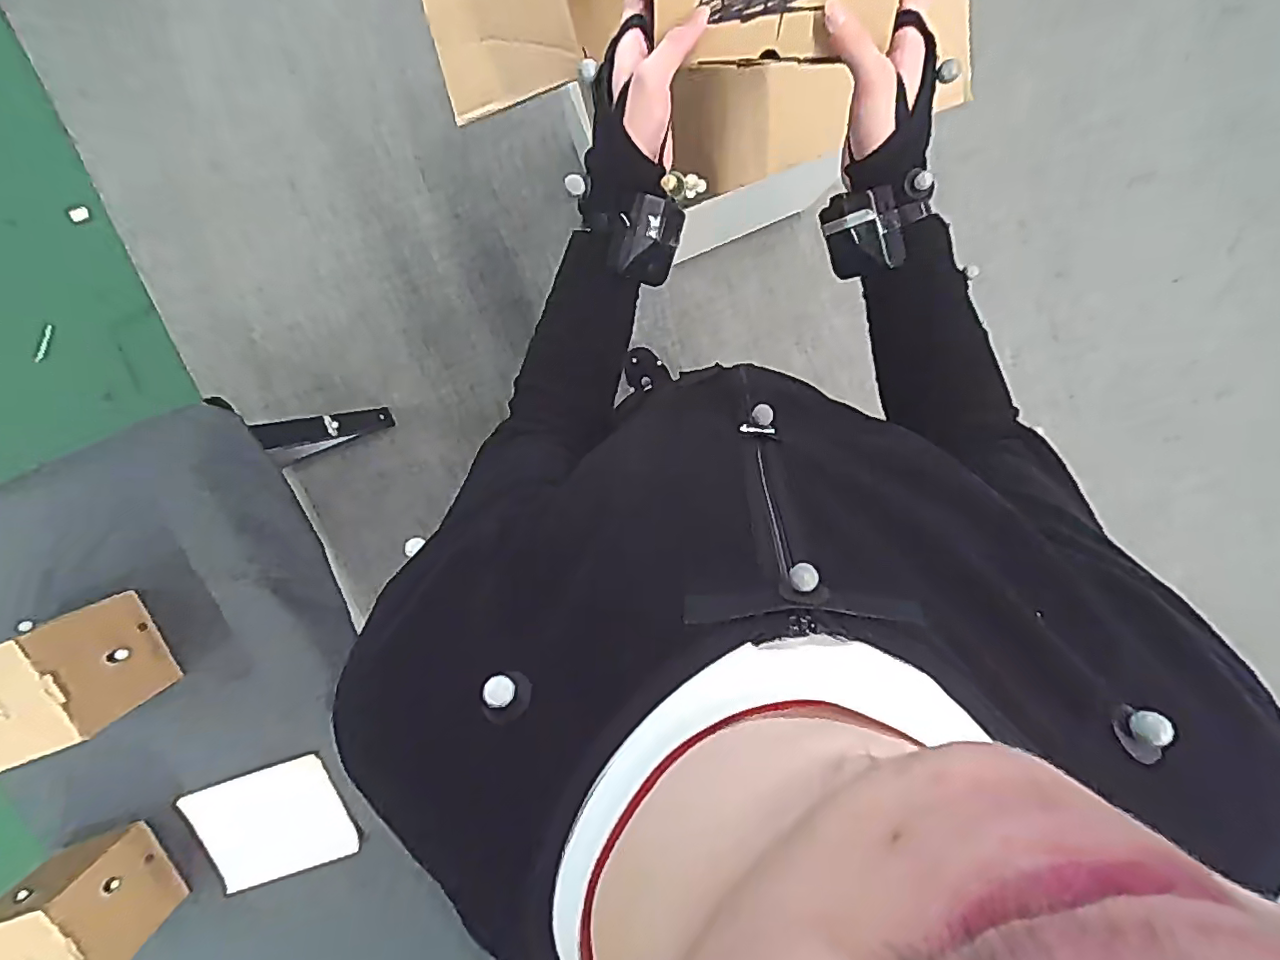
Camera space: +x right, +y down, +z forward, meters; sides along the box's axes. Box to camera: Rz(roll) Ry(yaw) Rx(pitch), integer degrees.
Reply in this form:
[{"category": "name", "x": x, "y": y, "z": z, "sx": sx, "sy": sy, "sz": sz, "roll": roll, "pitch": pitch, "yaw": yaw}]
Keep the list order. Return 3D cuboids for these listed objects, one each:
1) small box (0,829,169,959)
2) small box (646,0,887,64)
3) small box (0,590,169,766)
[{"category": "small box", "x": -0.921, "y": 0.709, "z": 0.870, "sx": 0.179, "sy": 0.176, "sz": 0.168, "roll": -21, "pitch": 99, "yaw": 4}, {"category": "small box", "x": 0.091, "y": -0.421, "z": 0.390, "sx": 0.168, "sy": 0.176, "sz": 0.179, "roll": 2, "pitch": 132, "yaw": 4}, {"category": "small box", "x": -0.862, "y": 0.286, "z": 0.803, "sx": 0.179, "sy": 0.176, "sz": 0.168, "roll": -20, "pitch": 100, "yaw": 3}]
